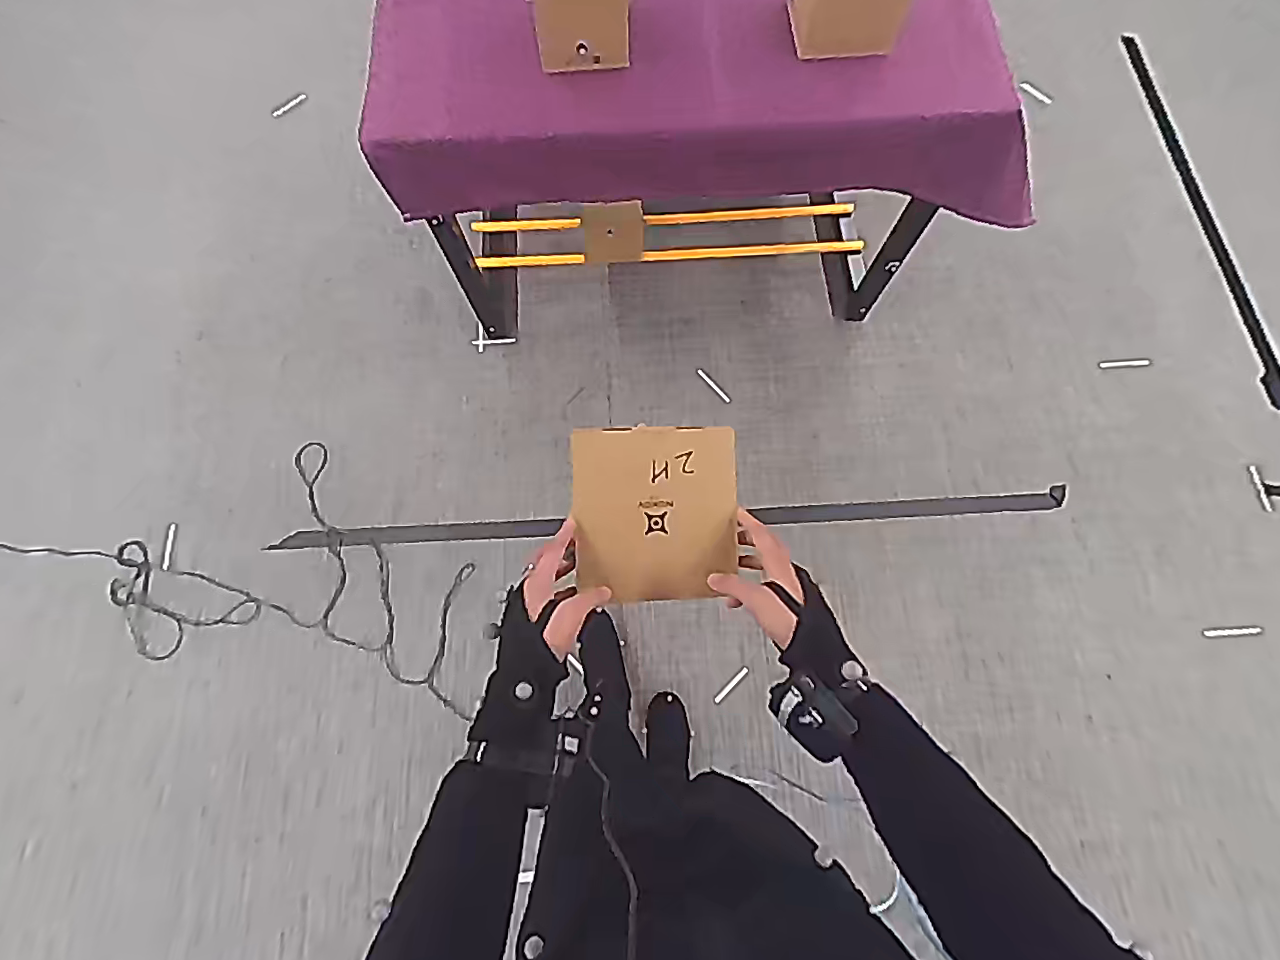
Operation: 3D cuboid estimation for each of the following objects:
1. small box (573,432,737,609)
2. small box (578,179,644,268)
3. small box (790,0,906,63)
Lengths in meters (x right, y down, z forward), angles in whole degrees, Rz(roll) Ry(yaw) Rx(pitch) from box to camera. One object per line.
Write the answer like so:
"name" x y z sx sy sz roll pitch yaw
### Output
"small box" 0.009 0.039 0.618 0.168 0.176 0.179 -1 89 -6
"small box" -0.083 -0.748 1.589 0.179 0.176 0.168 -5 74 -1
"small box" 0.381 -0.901 0.984 0.179 0.176 0.168 -4 74 -1
